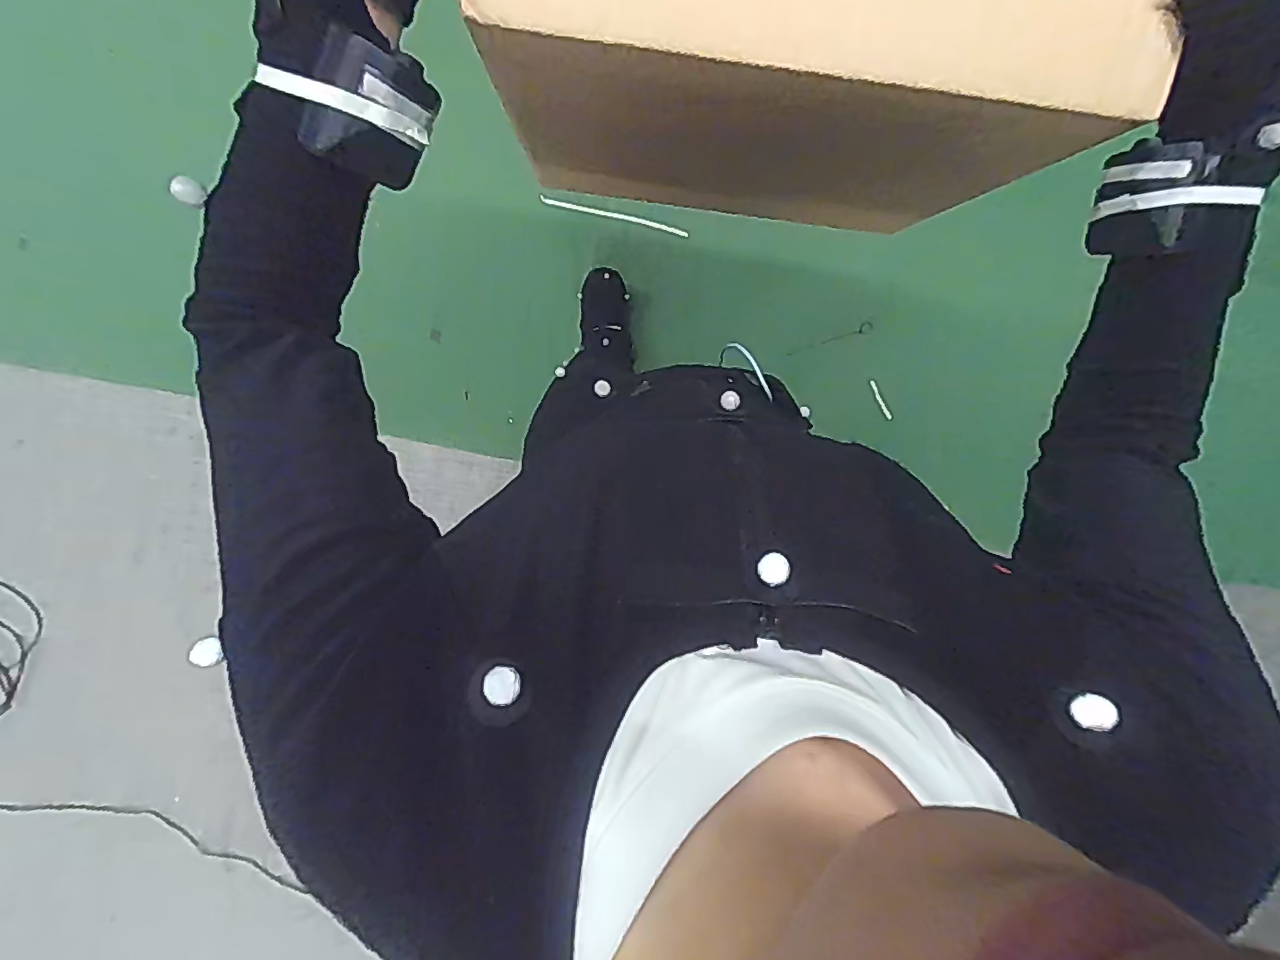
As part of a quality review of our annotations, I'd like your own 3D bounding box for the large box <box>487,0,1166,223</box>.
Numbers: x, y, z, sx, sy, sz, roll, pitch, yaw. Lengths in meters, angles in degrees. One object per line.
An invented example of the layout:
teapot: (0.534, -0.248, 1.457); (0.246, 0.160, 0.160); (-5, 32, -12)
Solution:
large box: (0.111, -0.422, 0.429); (0.408, 0.320, 0.320); (5, 103, -5)
